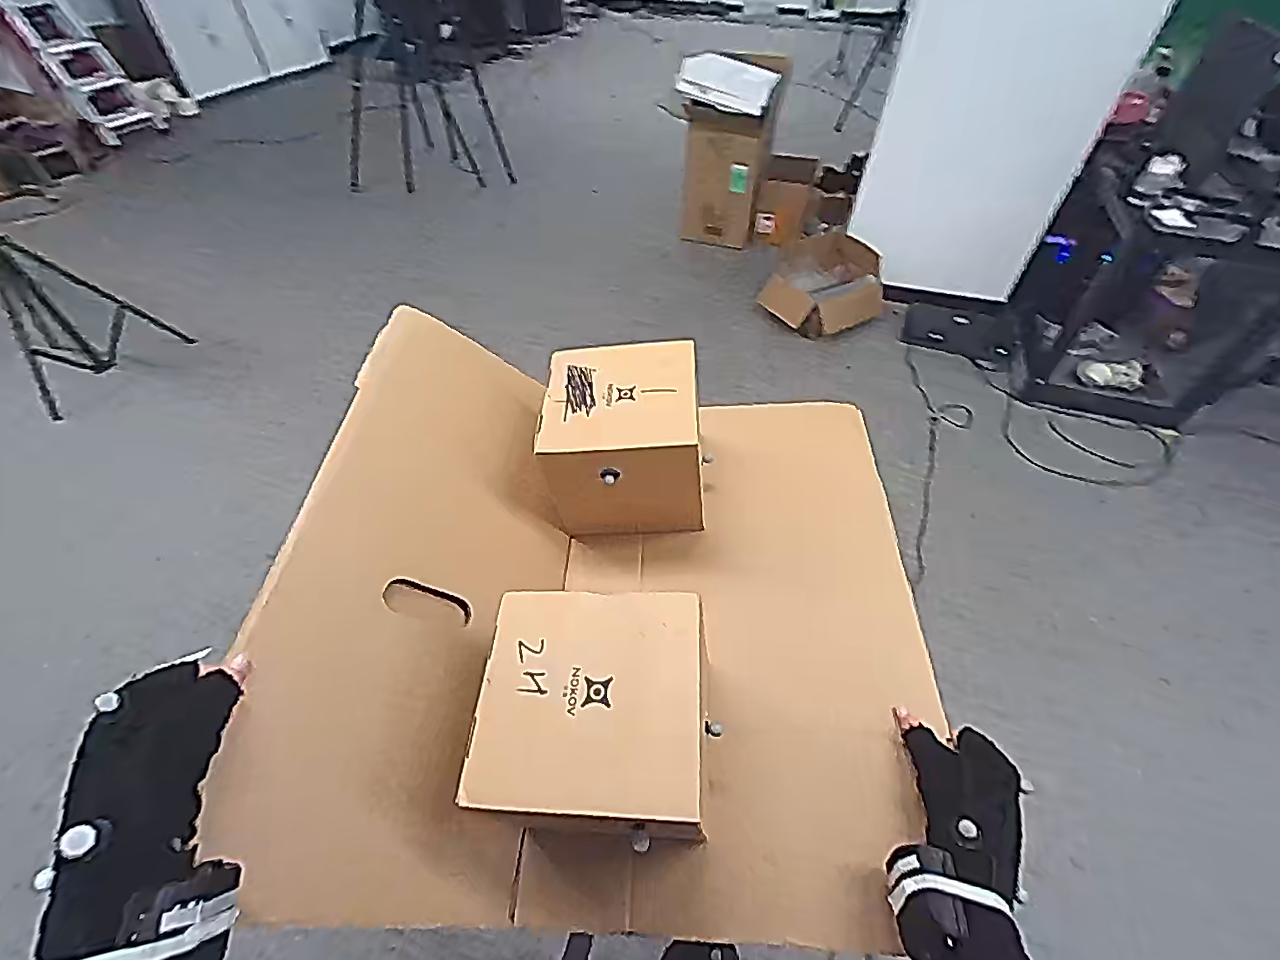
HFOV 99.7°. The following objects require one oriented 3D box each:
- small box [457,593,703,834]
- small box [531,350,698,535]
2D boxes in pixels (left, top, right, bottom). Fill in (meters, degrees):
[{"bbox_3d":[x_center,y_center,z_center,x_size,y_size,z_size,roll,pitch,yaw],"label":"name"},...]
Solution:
[{"bbox_3d":[-0.033,0.215,0.492,0.179,0.176,0.168,-2,53,9],"label":"small box"},{"bbox_3d":[-0.020,-0.041,0.684,0.179,0.176,0.168,-3,53,6],"label":"small box"}]
